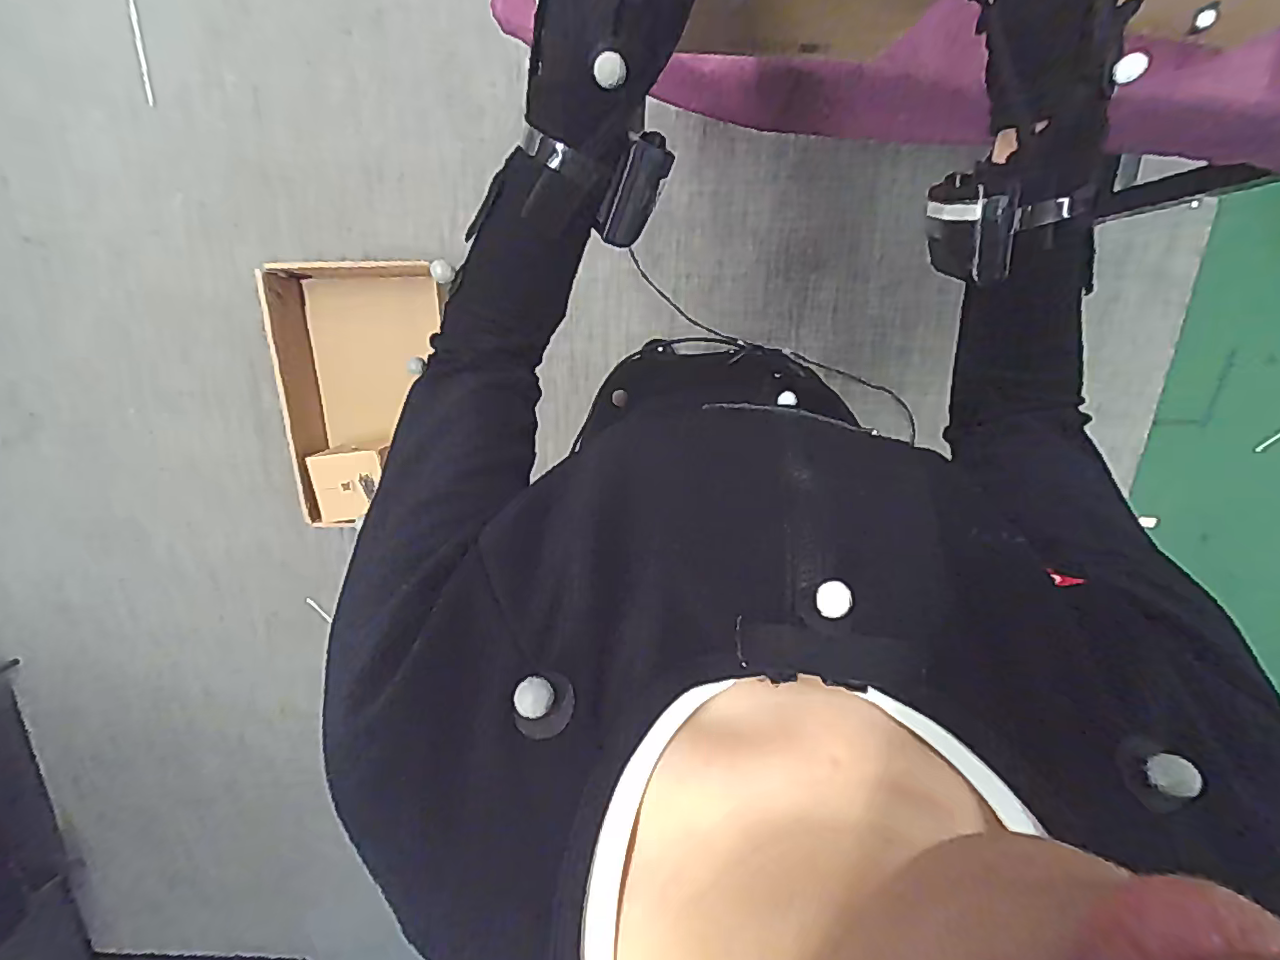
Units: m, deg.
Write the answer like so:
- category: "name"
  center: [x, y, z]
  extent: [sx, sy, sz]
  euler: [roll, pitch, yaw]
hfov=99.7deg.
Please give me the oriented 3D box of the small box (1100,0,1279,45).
- category: "small box"
  center: [0.573, -0.542, 0.482]
  extent: [0.168, 0.176, 0.179]
  euler: [9, 105, -1]
